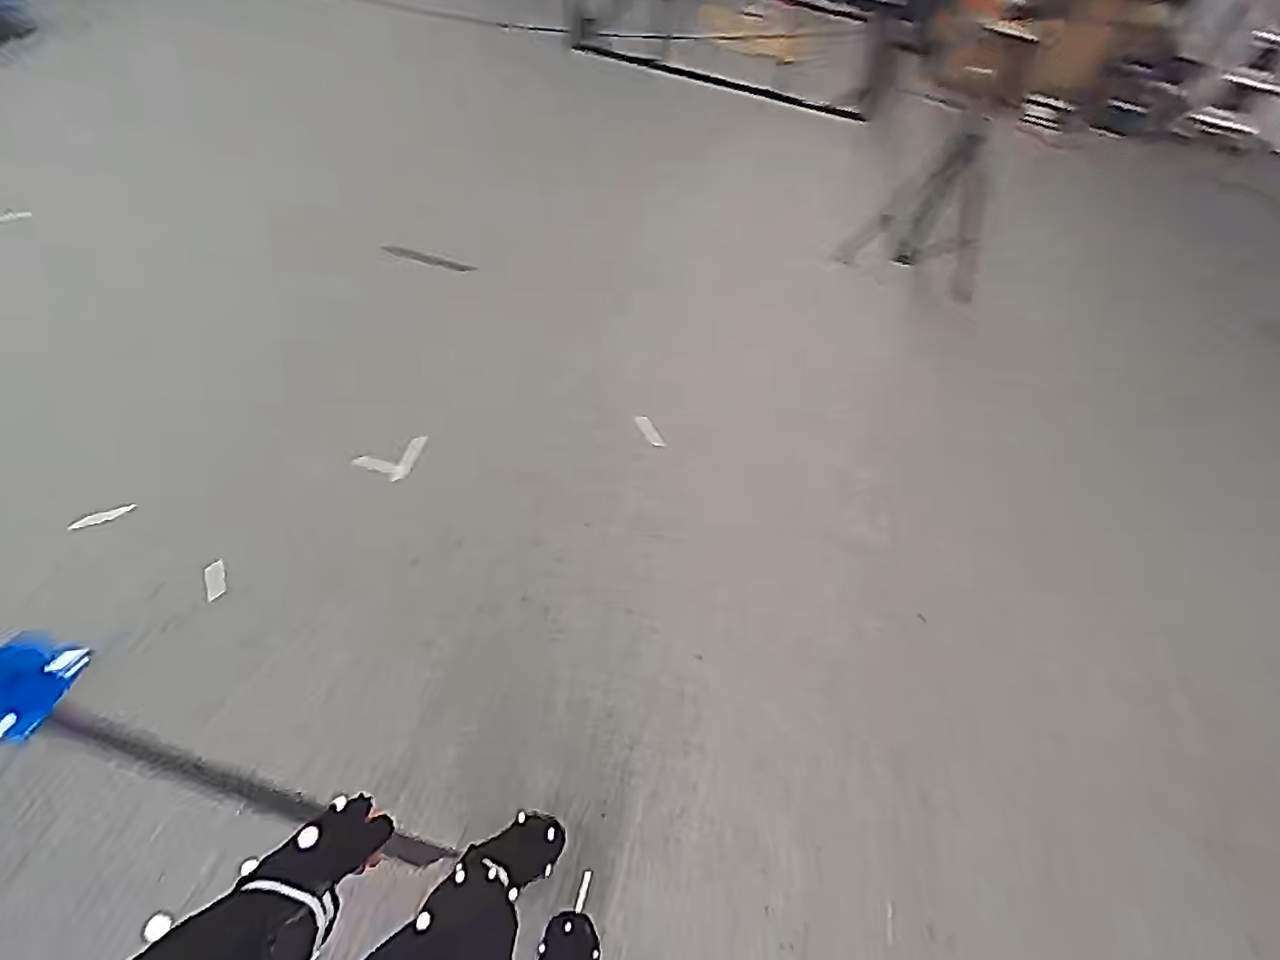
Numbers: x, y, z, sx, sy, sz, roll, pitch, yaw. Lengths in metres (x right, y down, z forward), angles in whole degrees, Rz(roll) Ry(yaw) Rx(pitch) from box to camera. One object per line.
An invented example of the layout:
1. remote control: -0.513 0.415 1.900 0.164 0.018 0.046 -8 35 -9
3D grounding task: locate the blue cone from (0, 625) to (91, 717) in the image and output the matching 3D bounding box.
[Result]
1. blue cone: -1.405 0.348 1.120 0.193 0.380 0.192 16 55 1
